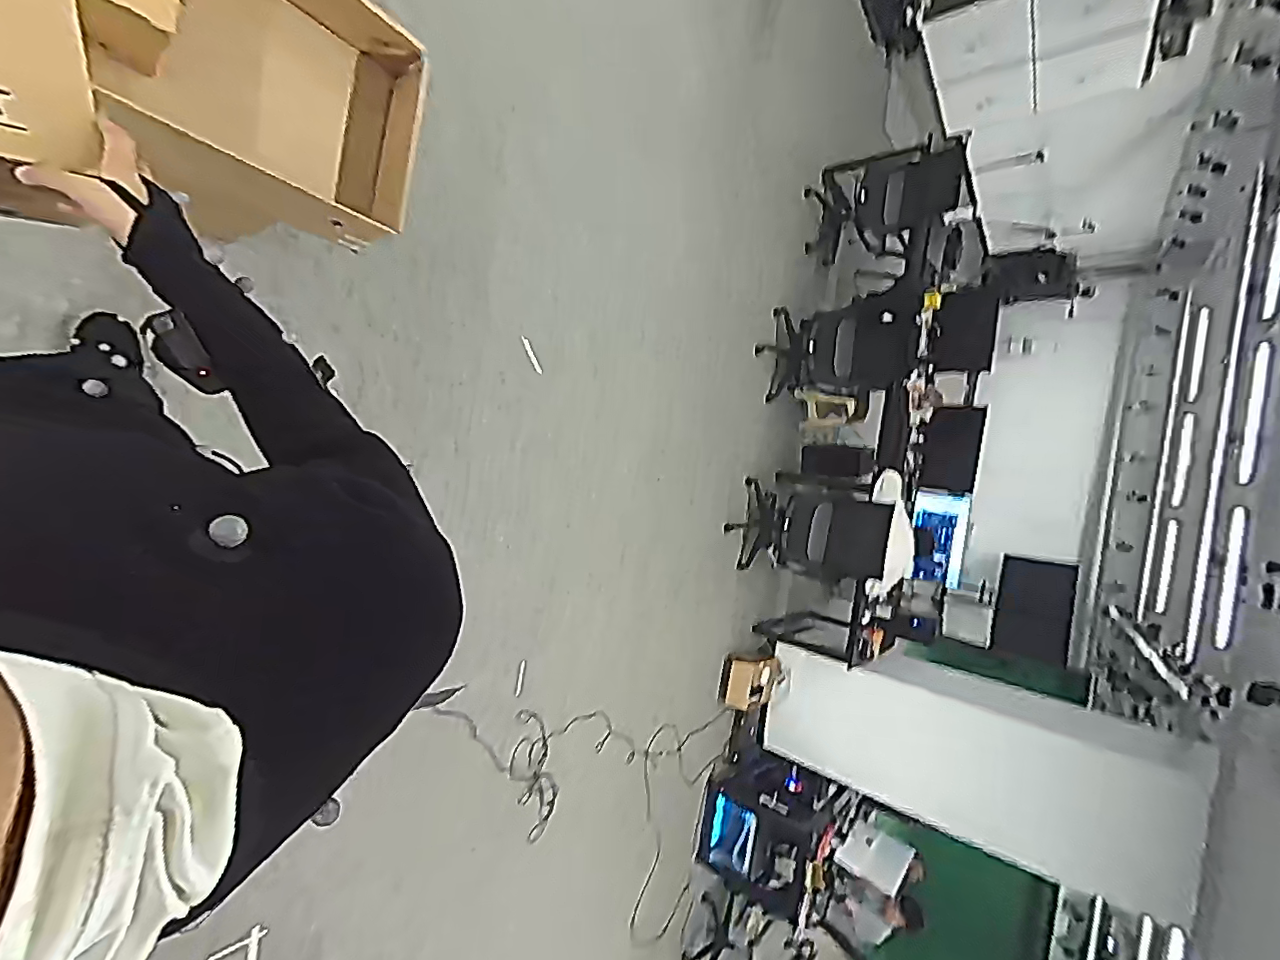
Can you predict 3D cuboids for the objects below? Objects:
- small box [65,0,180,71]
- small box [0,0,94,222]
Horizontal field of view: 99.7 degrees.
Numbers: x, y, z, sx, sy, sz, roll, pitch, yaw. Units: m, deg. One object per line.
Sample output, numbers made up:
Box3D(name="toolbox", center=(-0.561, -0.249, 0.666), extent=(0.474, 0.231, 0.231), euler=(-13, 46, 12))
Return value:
Box3D(name="small box", center=(-0.785, -0.753, 0.782), extent=(0.168, 0.176, 0.179), euler=(8, 90, -51))
Box3D(name="small box", center=(-0.600, -0.341, 0.459), extent=(0.168, 0.176, 0.179), euler=(-13, 102, -49))
